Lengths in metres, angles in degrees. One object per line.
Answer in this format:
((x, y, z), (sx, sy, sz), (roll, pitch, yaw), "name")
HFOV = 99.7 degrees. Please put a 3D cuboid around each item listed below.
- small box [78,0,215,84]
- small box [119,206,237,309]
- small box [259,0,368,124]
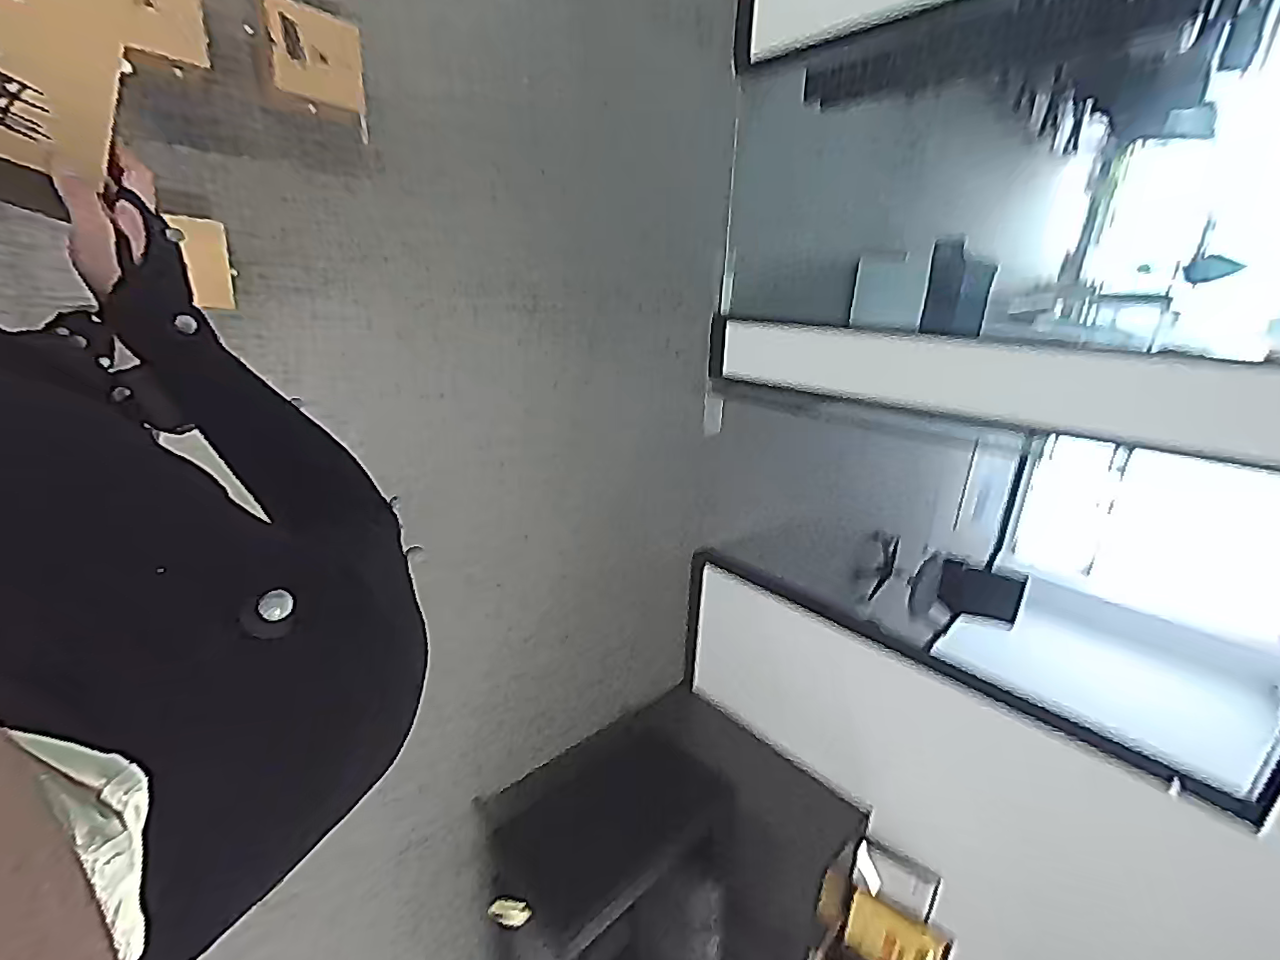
((-0.932, -0.877, 1.016), (0.179, 0.176, 0.168), (-11, 113, -41), "small box")
((-0.975, -0.463, 1.142), (0.168, 0.176, 0.179), (-11, 114, -41), "small box")
((-0.727, -0.916, 1.200), (0.179, 0.176, 0.168), (-11, 114, -42), "small box")
